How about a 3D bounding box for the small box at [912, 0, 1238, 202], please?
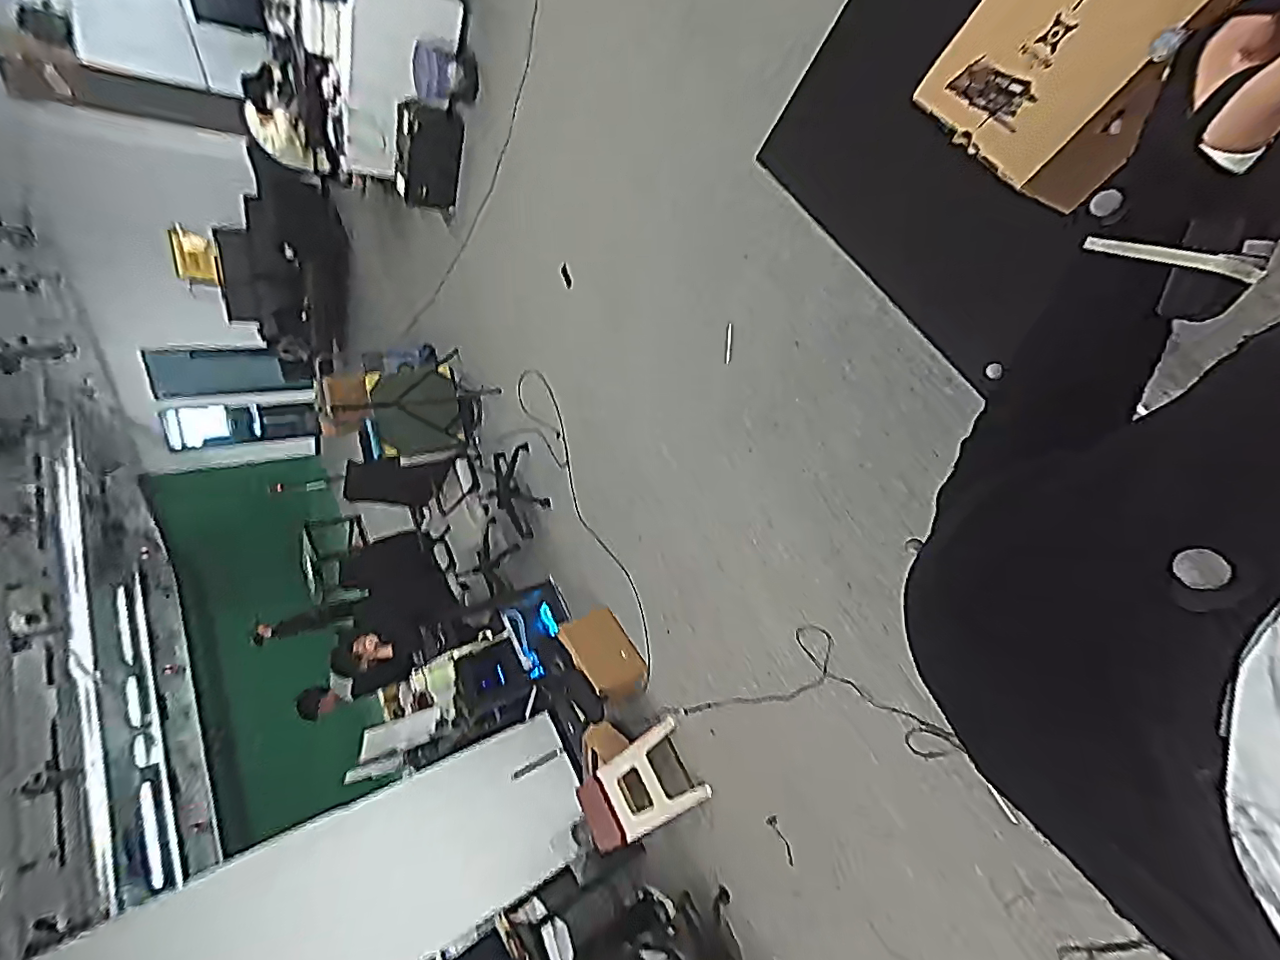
[{"bbox_3d":[0.425,-0.409,0.538,0.168,0.176,0.179,61,139,21],"label":"small box"}]
